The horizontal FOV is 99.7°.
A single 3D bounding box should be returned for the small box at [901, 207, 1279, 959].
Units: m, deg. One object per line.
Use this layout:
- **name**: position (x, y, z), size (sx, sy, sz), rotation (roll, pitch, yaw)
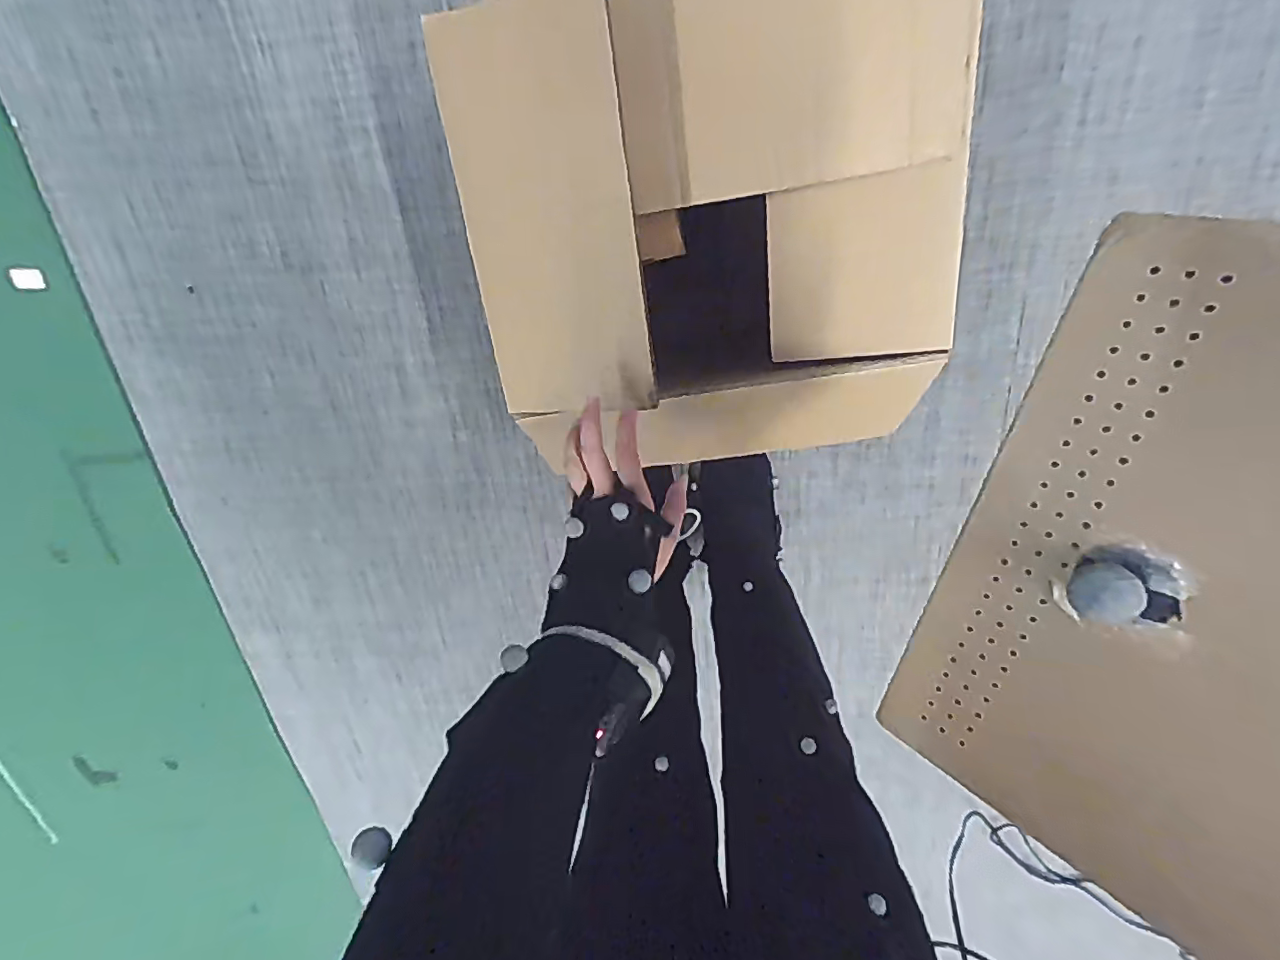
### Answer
- **small box**: position (0.214, 0.028, 0.172), size (0.168, 0.176, 0.179), rotation (-12, 122, -41)
